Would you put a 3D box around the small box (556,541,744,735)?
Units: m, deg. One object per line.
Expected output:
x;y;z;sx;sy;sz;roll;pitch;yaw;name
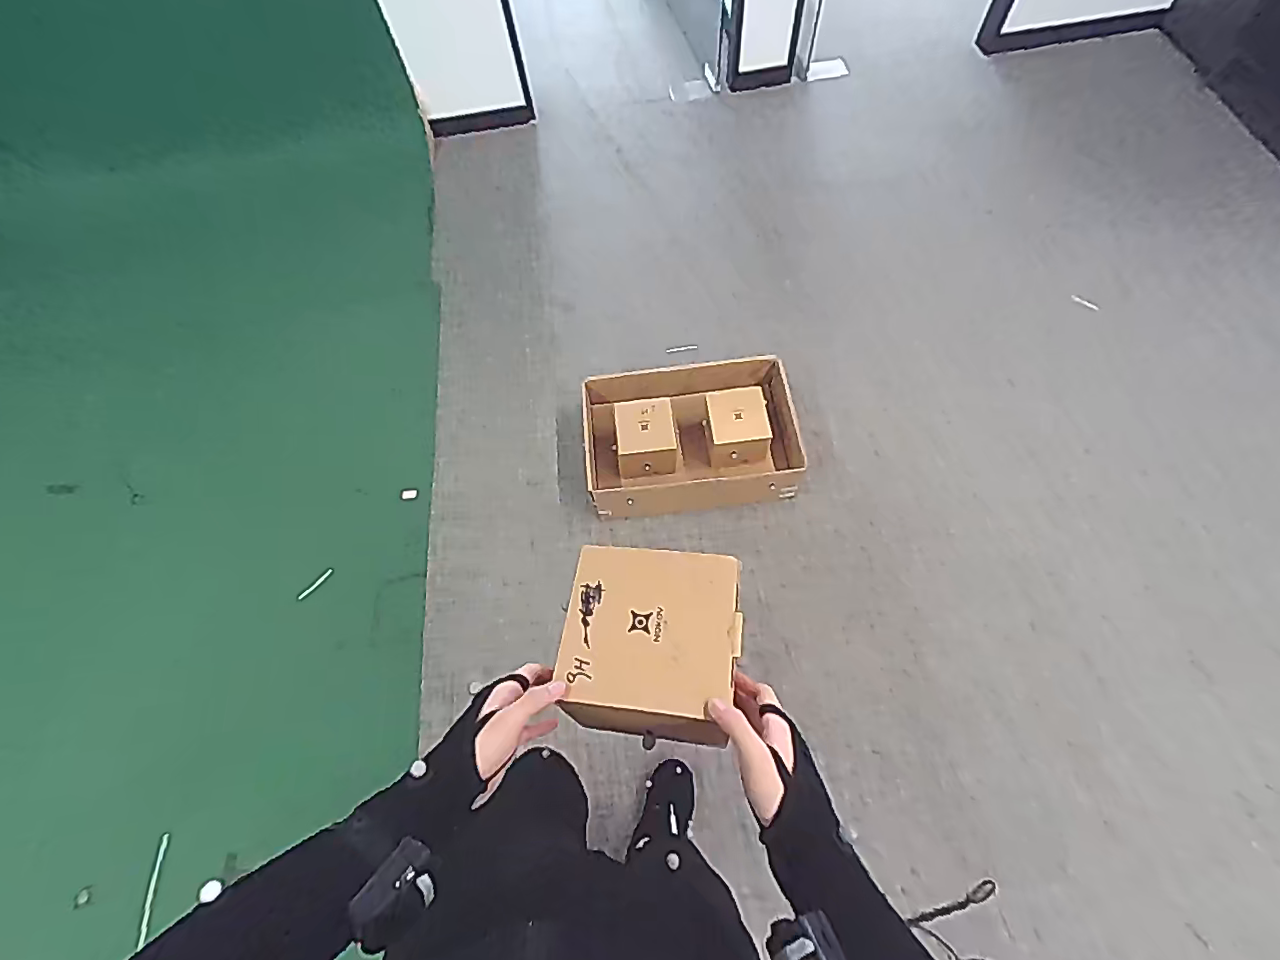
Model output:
0.021;0.187;0.623;0.179;0.176;0.168;4;58;9;small box

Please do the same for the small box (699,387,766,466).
0.273;-0.153;1.628;0.168;0.176;0.179;-8;65;0;small box

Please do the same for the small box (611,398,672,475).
0.007;-0.123;1.626;0.168;0.176;0.179;-6;65;-1;small box
